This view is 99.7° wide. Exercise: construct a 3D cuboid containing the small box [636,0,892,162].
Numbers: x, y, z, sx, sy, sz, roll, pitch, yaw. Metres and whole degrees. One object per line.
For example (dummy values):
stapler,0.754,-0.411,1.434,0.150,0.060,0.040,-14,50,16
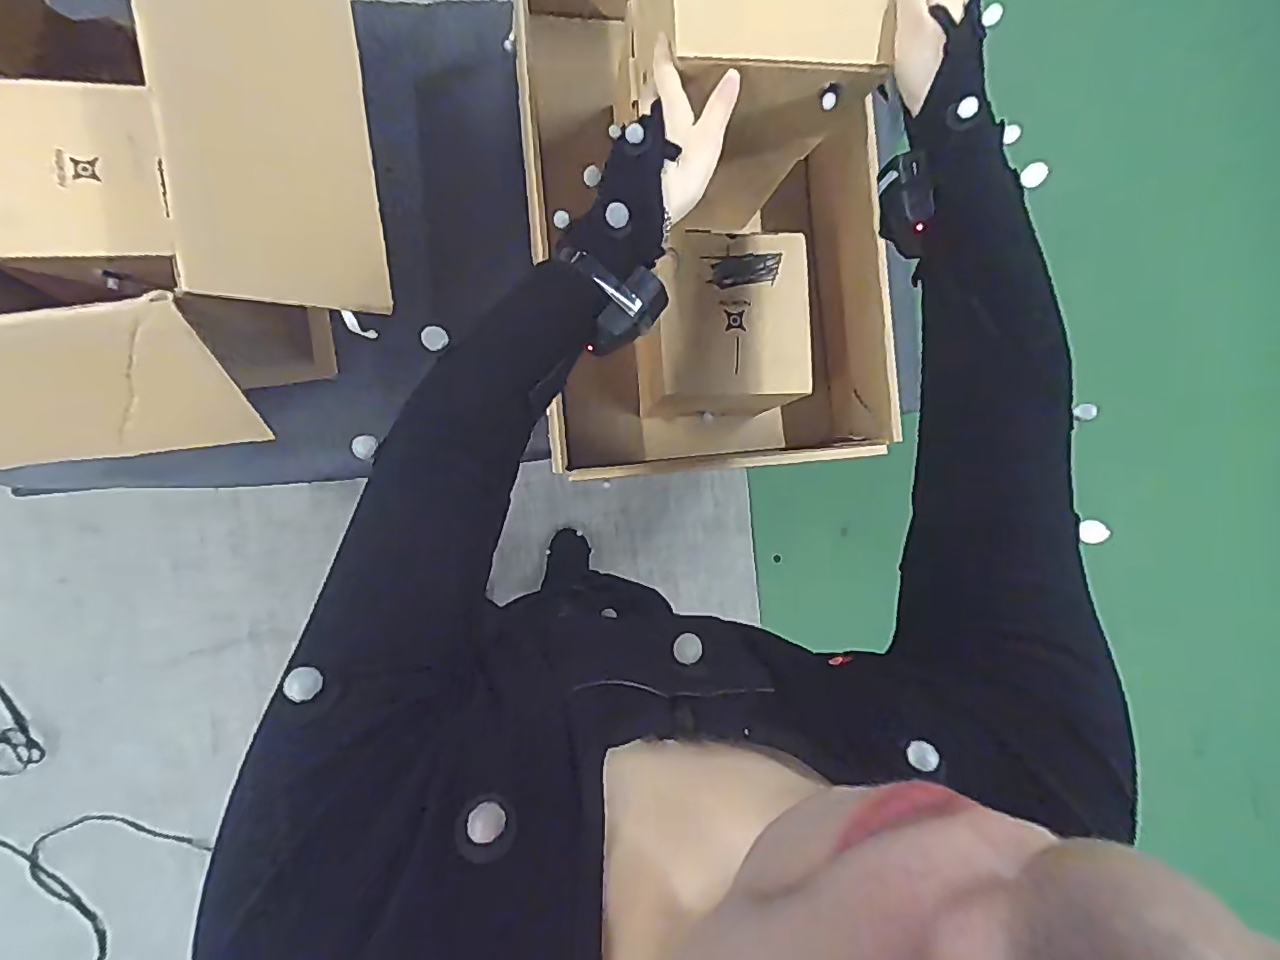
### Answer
small box,0.092,-0.398,0.472,0.179,0.176,0.168,-5,99,-8
